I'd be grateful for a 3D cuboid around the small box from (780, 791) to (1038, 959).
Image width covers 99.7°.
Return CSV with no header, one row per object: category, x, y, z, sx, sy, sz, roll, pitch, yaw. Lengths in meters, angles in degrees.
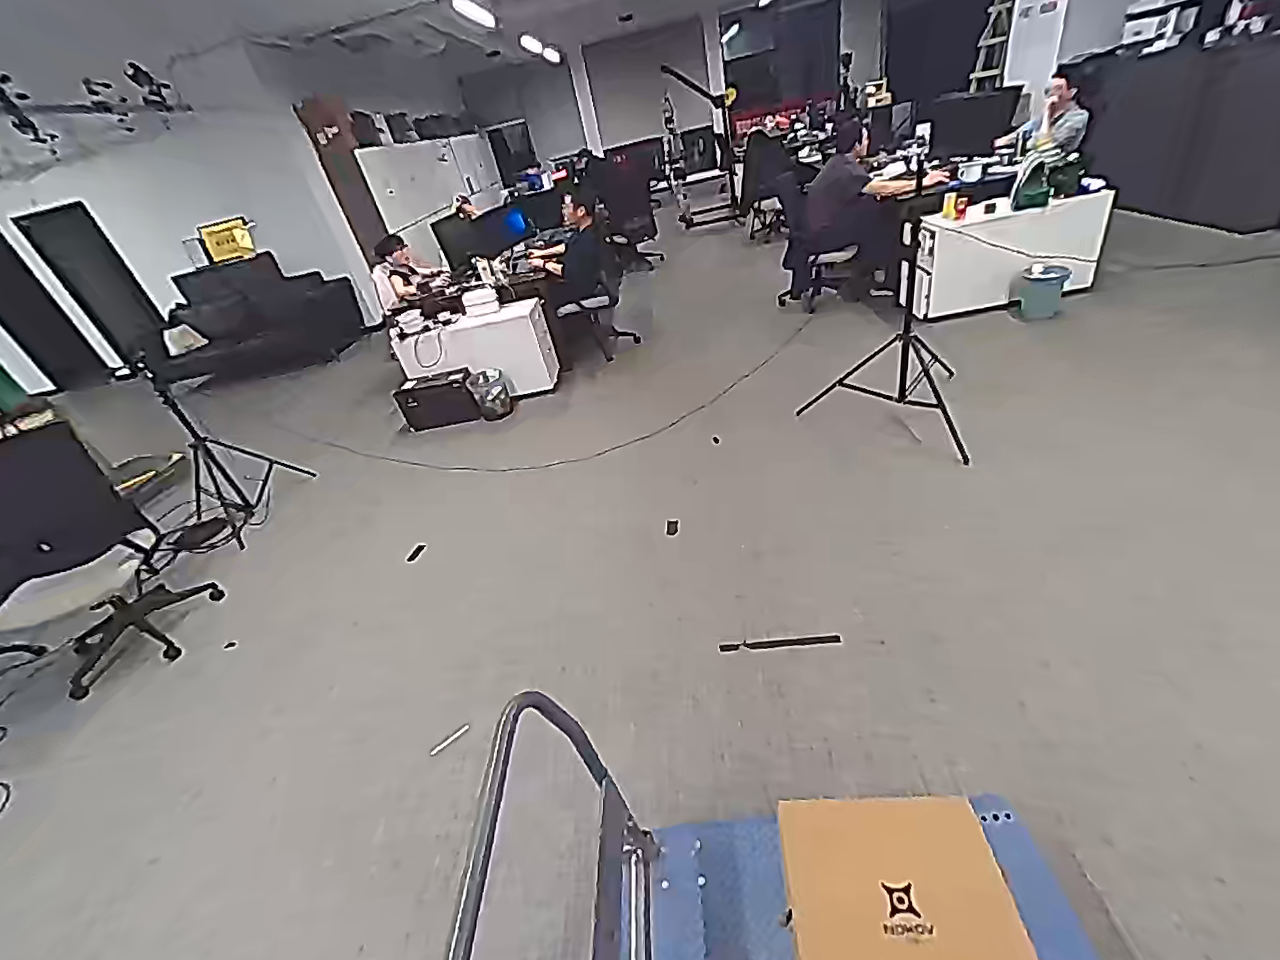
small box,0.213,0.393,0.452,0.168,0.176,0.179,-7,31,9
